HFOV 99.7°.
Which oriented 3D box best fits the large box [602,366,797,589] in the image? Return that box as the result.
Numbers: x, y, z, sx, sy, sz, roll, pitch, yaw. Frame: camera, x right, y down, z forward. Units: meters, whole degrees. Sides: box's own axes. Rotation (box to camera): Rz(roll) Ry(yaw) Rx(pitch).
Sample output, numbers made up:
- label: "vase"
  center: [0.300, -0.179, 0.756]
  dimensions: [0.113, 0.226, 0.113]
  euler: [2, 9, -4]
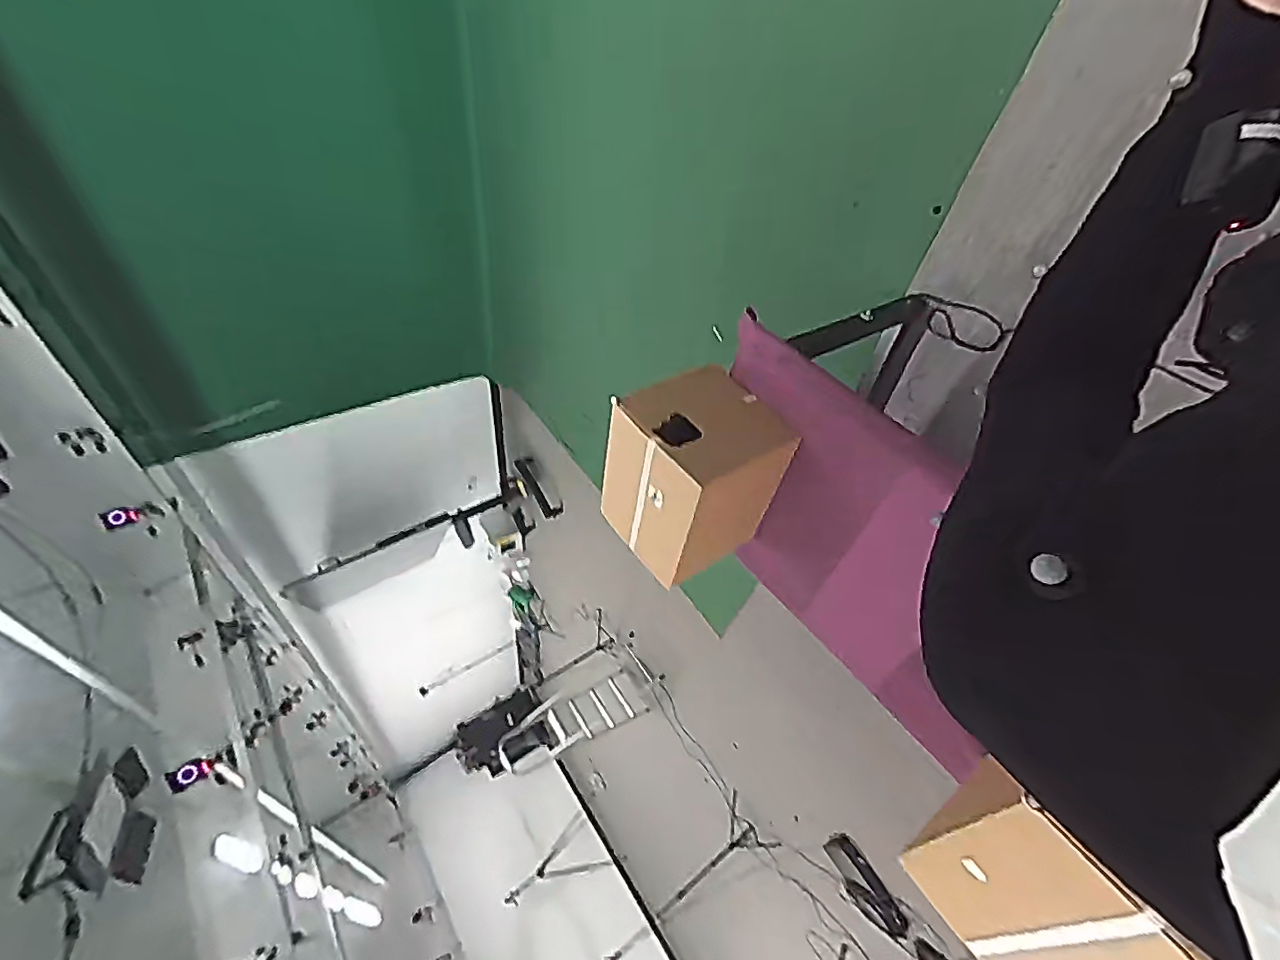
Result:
- label: "large box"
  center: [0.128, -0.009, 1.355]
  dimensions: [0.320, 0.320, 0.408]
  euler: [46, 145, 29]
